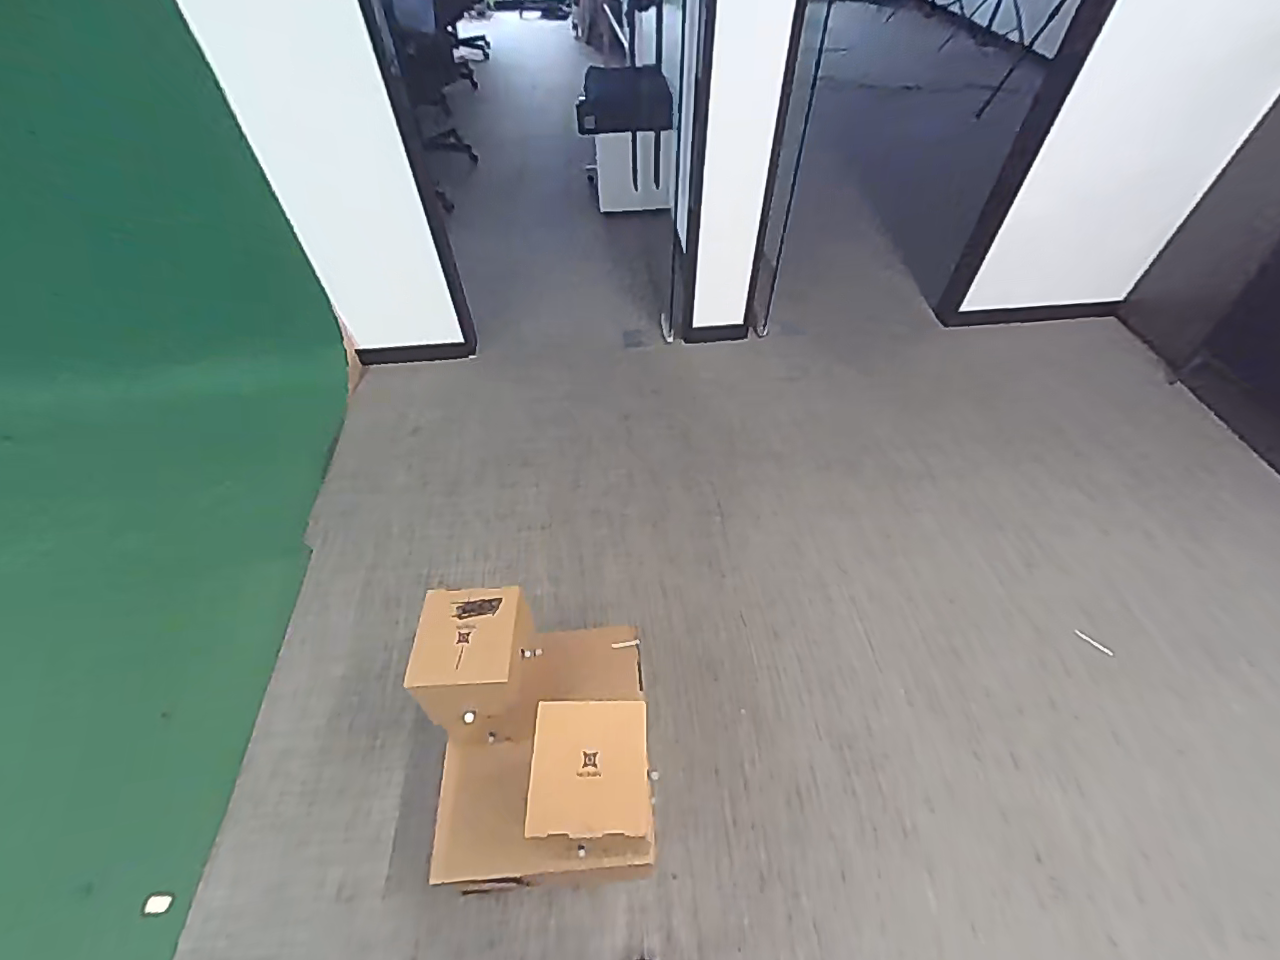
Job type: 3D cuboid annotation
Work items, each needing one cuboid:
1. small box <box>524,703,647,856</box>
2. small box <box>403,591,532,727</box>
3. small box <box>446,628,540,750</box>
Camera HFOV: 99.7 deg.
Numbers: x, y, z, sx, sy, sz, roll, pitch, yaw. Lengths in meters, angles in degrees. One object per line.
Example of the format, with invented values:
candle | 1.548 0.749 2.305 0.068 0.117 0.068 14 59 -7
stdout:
small box | -0.075 0.459 0.829 0.168 0.176 0.179 0 49 -1
small box | -0.291 0.316 0.956 0.168 0.176 0.179 -3 47 -1
small box | -0.297 0.418 1.086 0.168 0.176 0.179 -4 47 -2
